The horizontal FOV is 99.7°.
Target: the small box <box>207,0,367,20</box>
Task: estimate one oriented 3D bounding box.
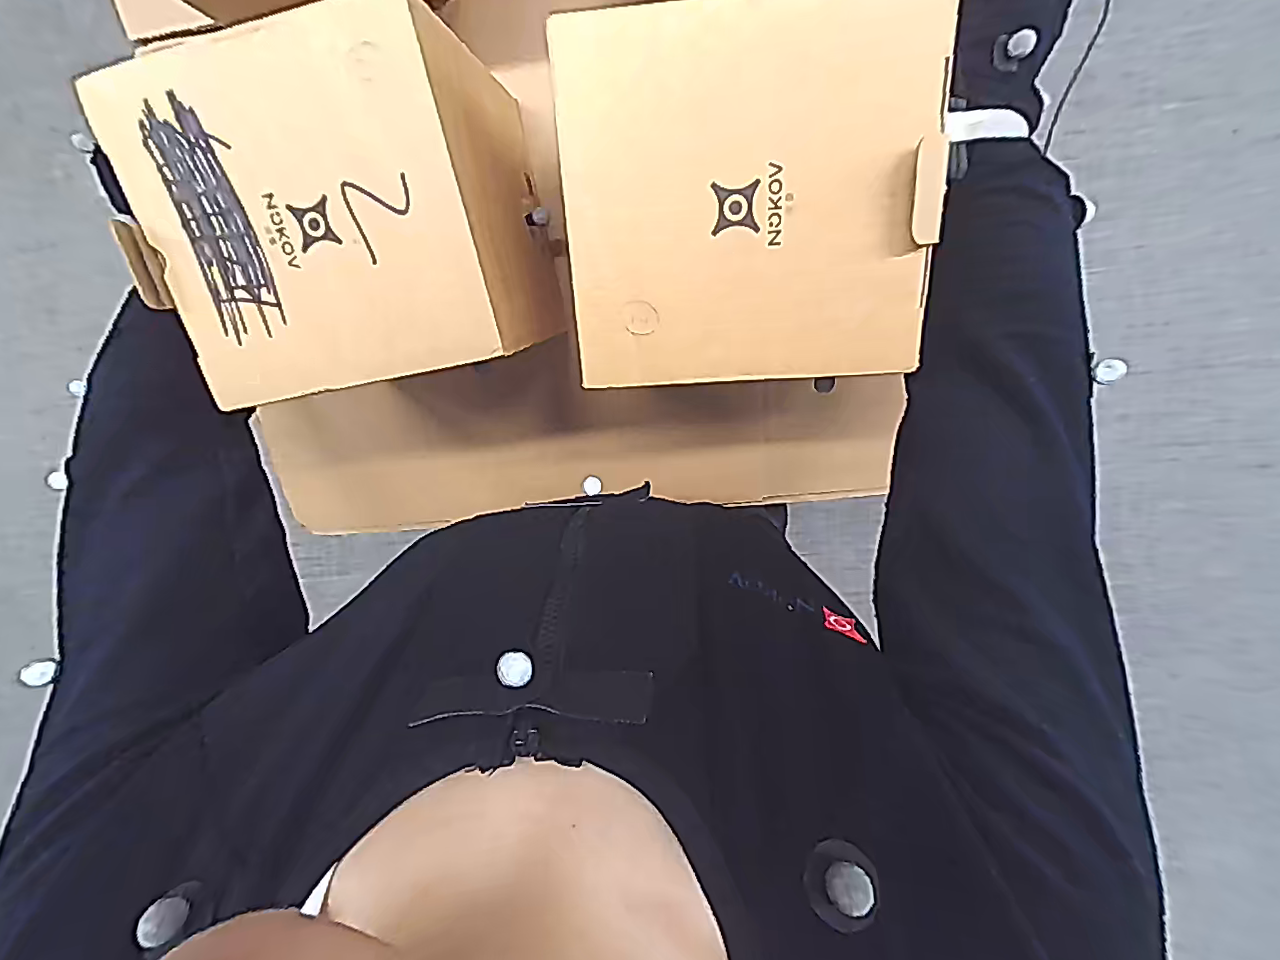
[{"bbox_3d":[-0.223,-0.383,0.280,0.168,0.176,0.179,-6,107,7],"label":"small box"}]
